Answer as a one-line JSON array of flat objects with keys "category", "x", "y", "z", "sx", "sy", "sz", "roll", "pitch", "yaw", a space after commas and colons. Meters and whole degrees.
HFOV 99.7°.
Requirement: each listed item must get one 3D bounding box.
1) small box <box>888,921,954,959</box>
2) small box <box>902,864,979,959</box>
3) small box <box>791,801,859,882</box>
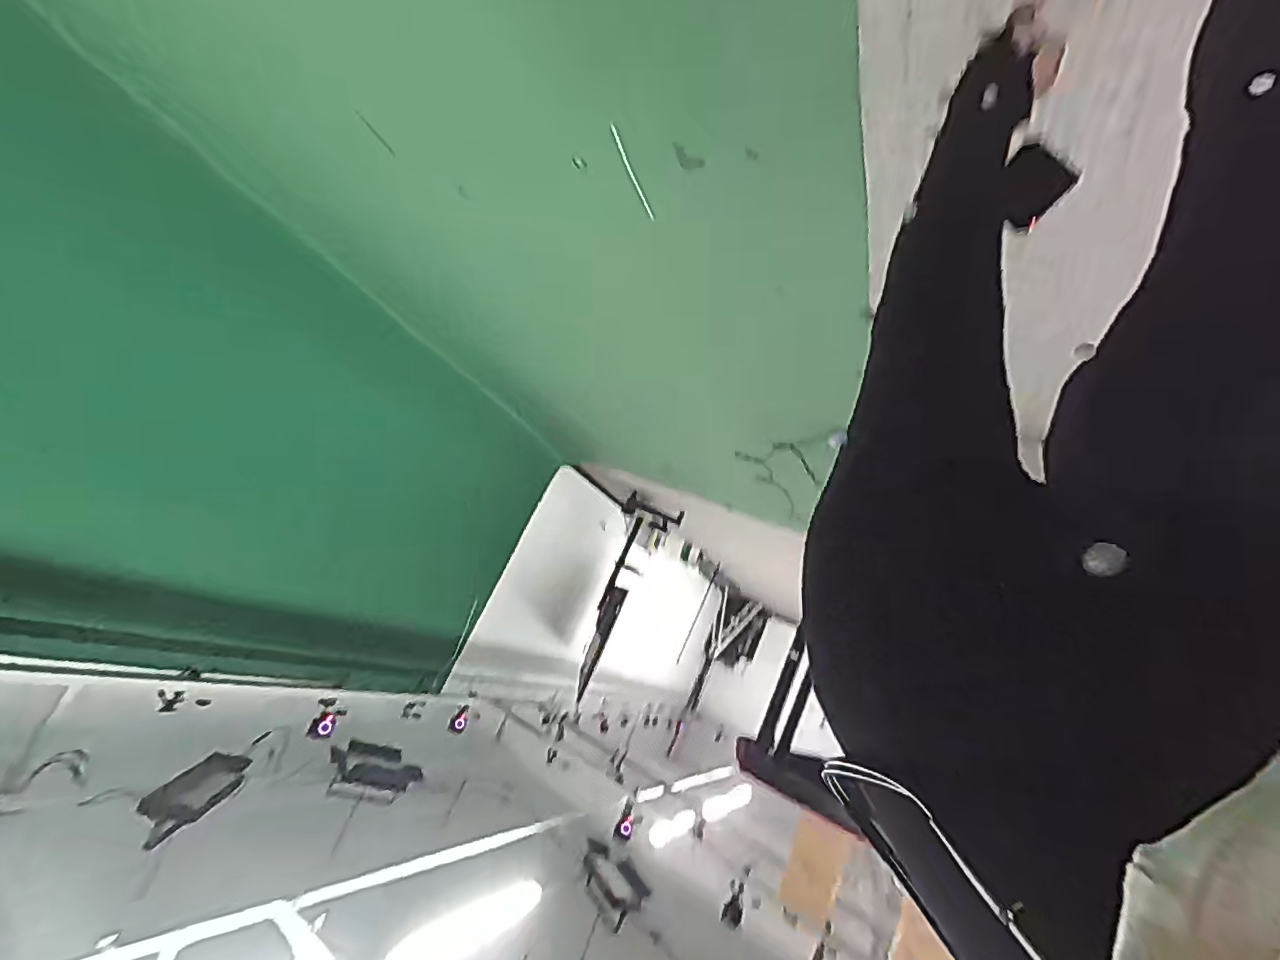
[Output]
[{"category": "small box", "x": 0.903, "y": 1.541, "z": 1.724, "sx": 0.168, "sy": 0.176, "sz": 0.179, "roll": 21, "pitch": 167, "yaw": 30}, {"category": "small box", "x": 0.971, "y": 1.396, "z": 1.756, "sx": 0.179, "sy": 0.176, "sz": 0.168, "roll": 19, "pitch": 166, "yaw": 31}, {"category": "small box", "x": 0.669, "y": 1.291, "z": 1.949, "sx": 0.179, "sy": 0.176, "sz": 0.168, "roll": 19, "pitch": 168, "yaw": 32}]
